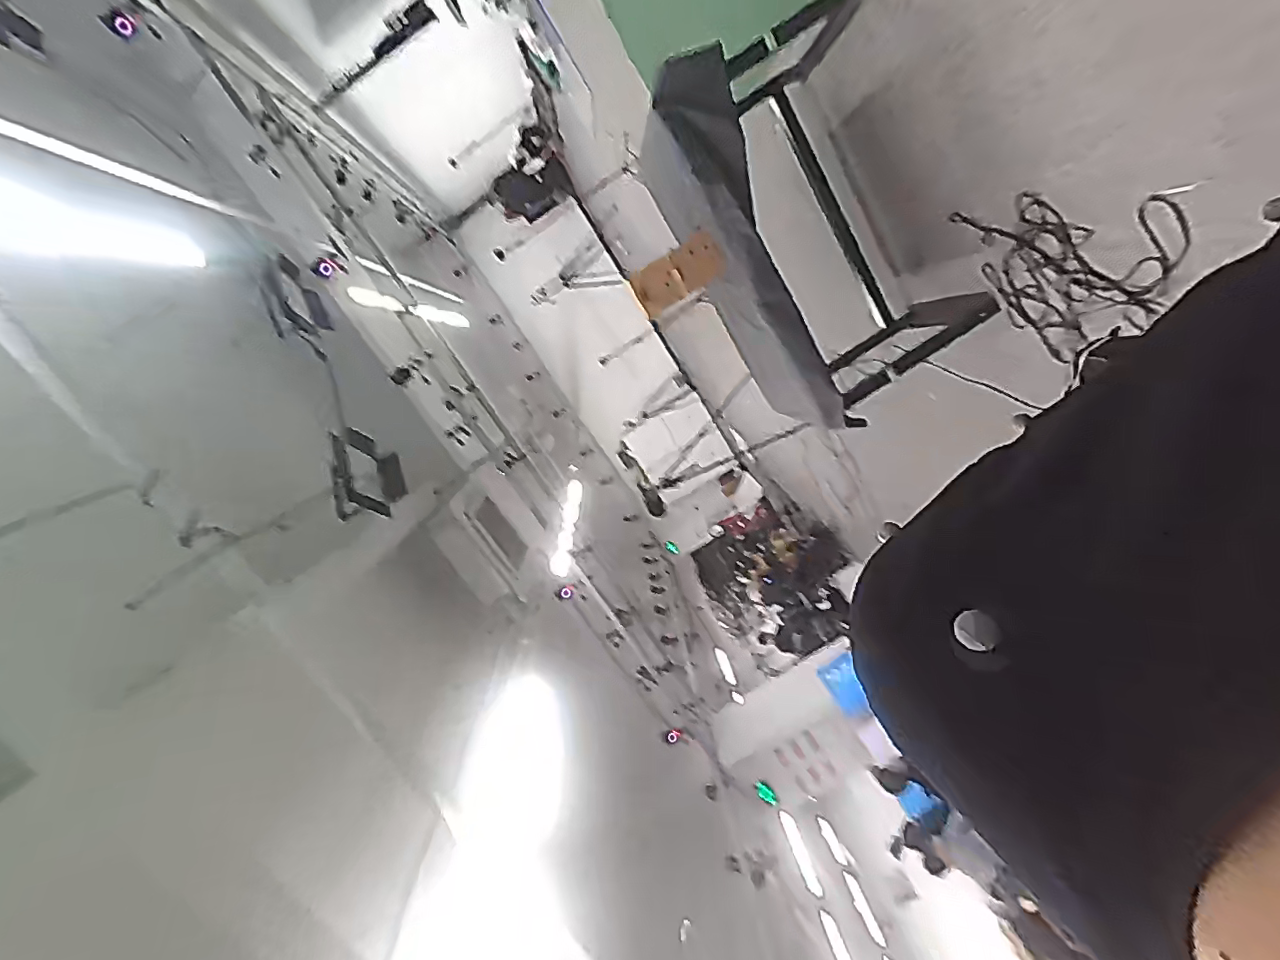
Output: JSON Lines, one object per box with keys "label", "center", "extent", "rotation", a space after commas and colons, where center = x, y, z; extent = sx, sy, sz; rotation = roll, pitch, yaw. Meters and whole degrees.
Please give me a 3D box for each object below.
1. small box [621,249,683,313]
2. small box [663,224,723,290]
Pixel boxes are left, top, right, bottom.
{"label": "small box", "center": [0.046, -0.742, 2.025], "extent": [0.168, 0.176, 0.179], "rotation": [58, -177, -18]}
{"label": "small box", "center": [0.187, -0.820, 1.999], "extent": [0.168, 0.176, 0.179], "rotation": [58, -175, -17]}
